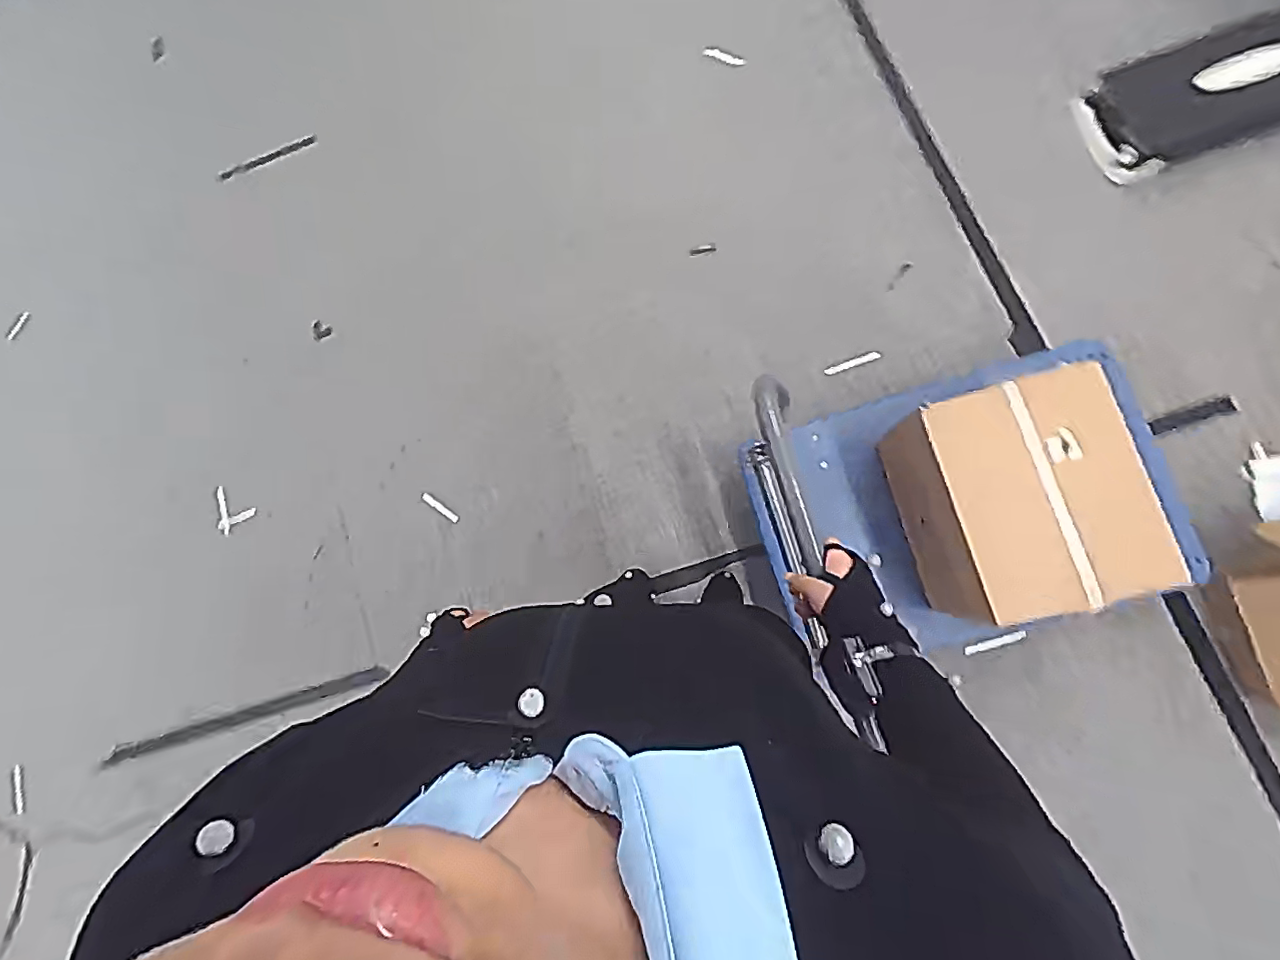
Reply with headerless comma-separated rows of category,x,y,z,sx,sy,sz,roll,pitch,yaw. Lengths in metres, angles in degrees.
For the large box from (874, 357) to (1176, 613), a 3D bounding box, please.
large box,0.728,0.028,1.103,0.320,0.320,0.408,-16,79,6
